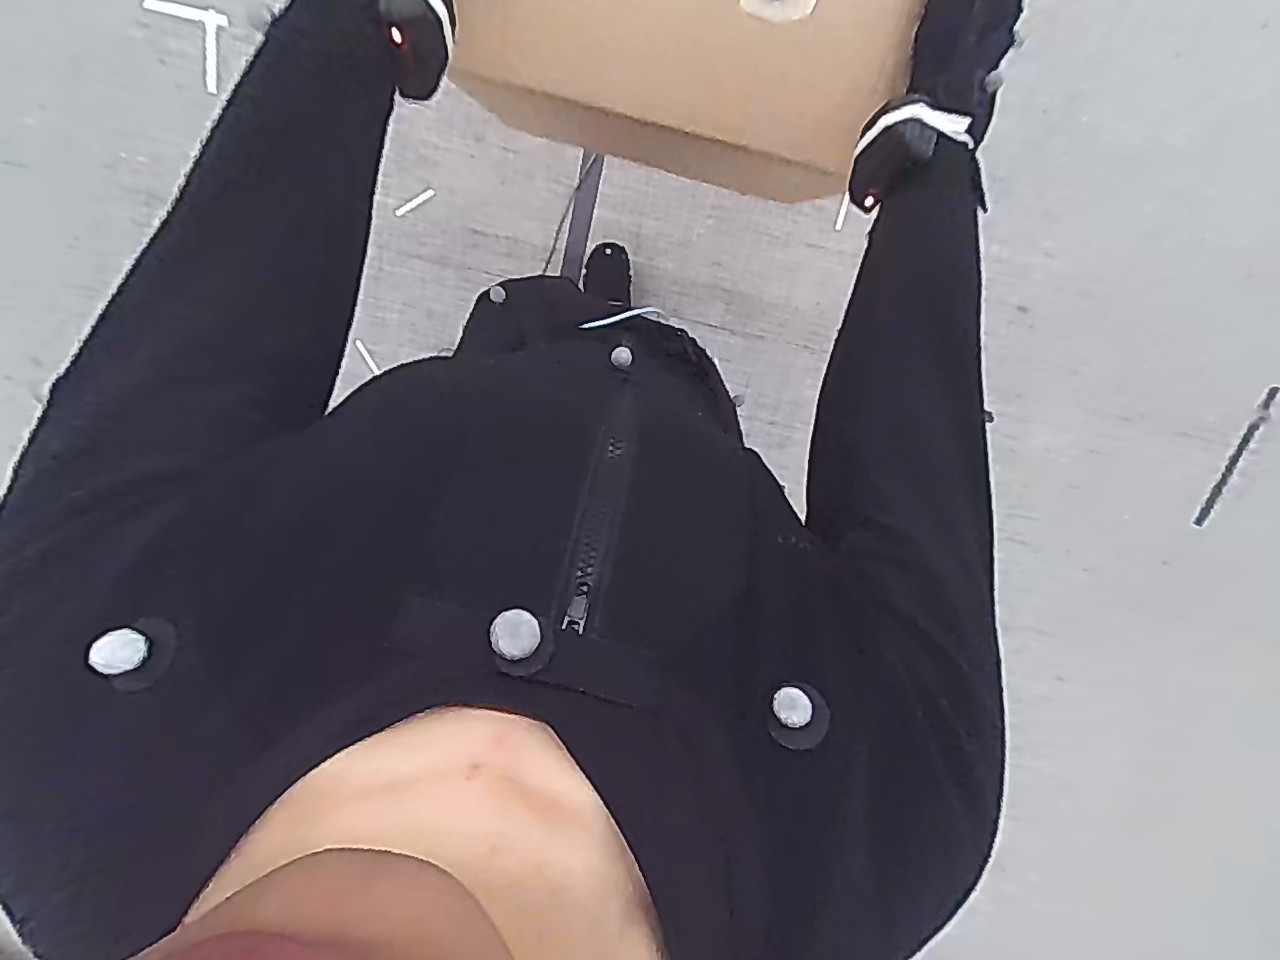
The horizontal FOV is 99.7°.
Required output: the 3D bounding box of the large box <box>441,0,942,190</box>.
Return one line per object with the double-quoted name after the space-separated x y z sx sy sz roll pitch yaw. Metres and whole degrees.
0.055 -0.513 0.541 0.408 0.320 0.320 12 115 -6 "large box"
